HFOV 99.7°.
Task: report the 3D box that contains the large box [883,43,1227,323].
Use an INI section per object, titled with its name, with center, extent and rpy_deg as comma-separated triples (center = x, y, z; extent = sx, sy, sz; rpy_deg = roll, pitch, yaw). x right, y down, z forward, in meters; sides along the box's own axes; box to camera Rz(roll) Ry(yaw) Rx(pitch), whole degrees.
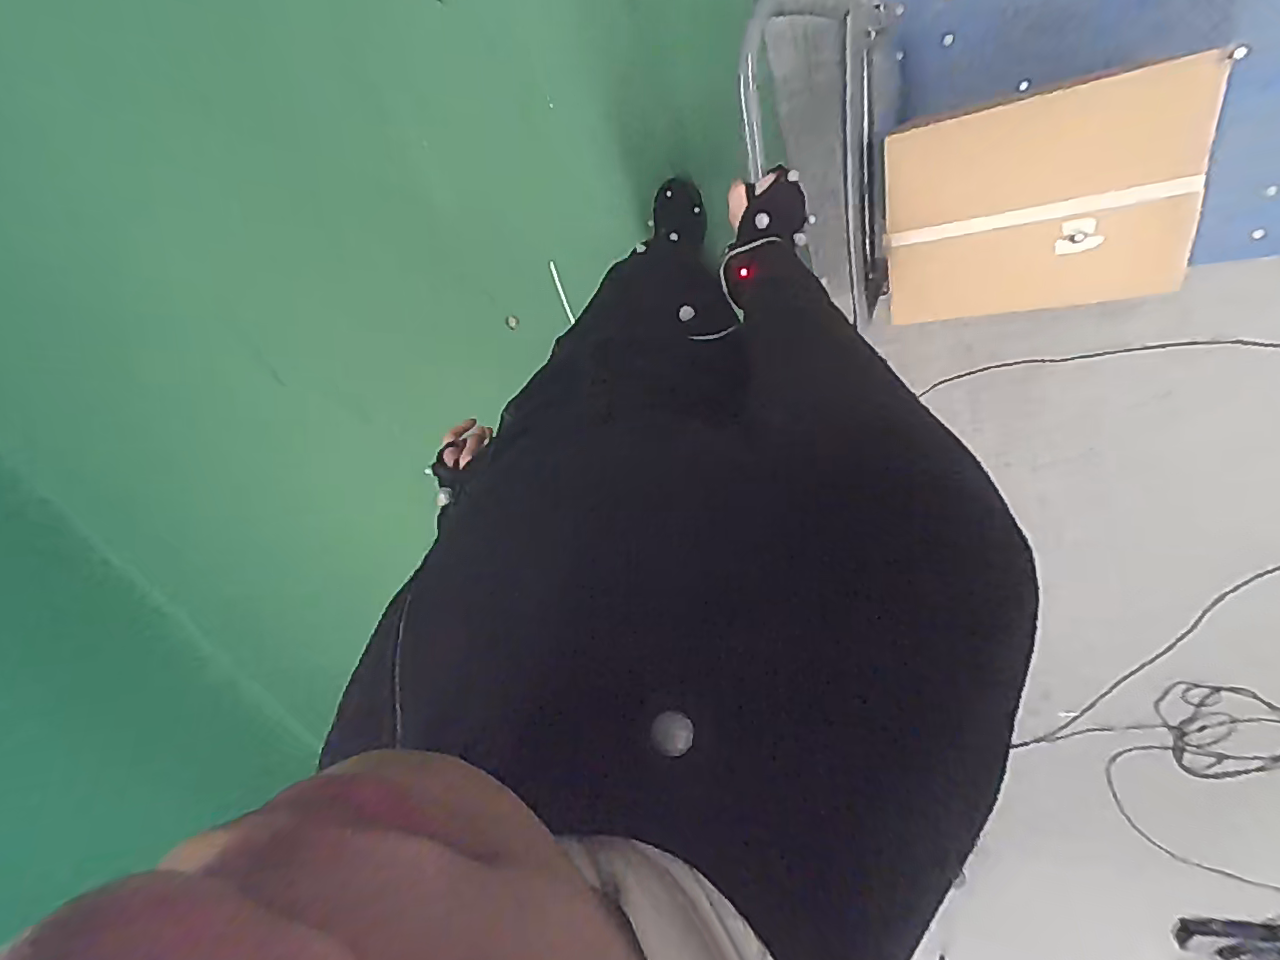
[large box]
center = 0.660, -0.499, 0.954
extent = 0.408, 0.320, 0.320
rpy_deg = 0, 123, 27
